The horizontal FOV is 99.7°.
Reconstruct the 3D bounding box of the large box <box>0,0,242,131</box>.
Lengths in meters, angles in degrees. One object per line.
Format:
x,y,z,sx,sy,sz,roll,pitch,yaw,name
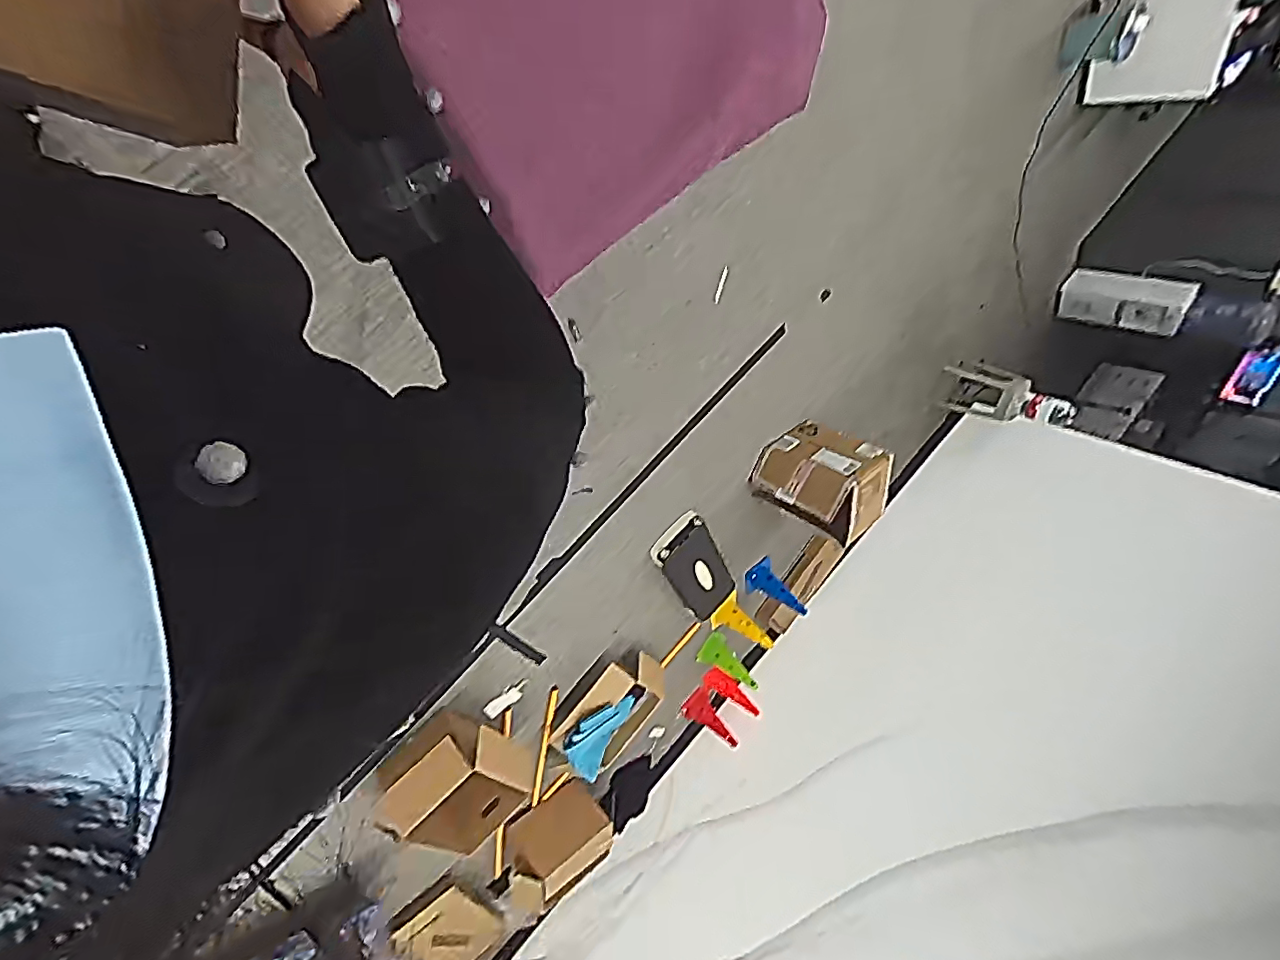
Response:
-0.449,-0.402,0.245,0.408,0.320,0.320,-4,114,-44,large box
